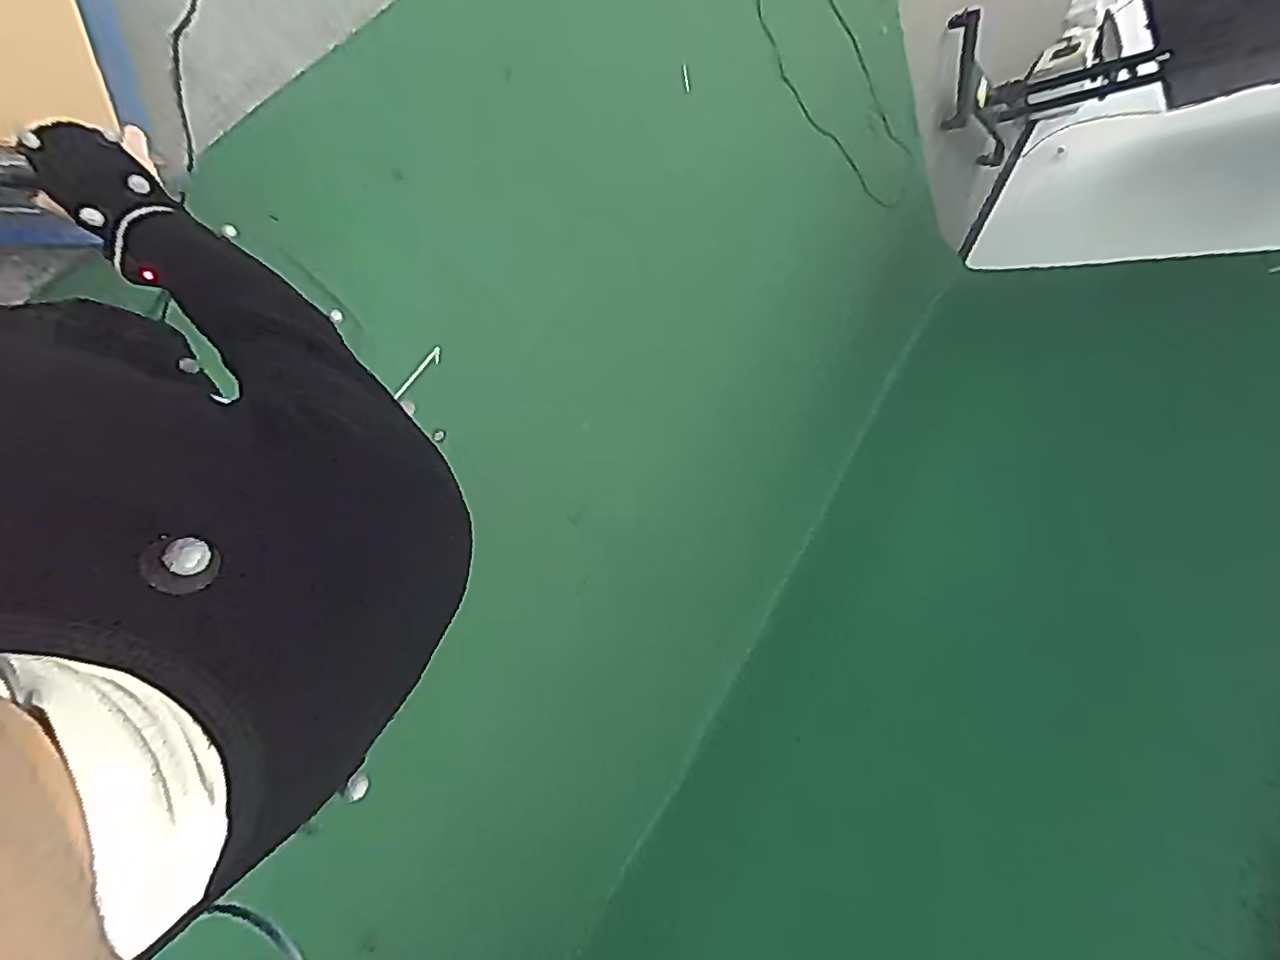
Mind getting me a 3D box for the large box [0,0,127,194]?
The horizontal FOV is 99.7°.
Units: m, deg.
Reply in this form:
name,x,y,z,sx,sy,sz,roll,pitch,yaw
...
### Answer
name,x,y,z,sx,sy,sz,roll,pitch,yaw
large box,-1.018,-0.661,0.775,0.320,0.320,0.408,-22,115,-39
